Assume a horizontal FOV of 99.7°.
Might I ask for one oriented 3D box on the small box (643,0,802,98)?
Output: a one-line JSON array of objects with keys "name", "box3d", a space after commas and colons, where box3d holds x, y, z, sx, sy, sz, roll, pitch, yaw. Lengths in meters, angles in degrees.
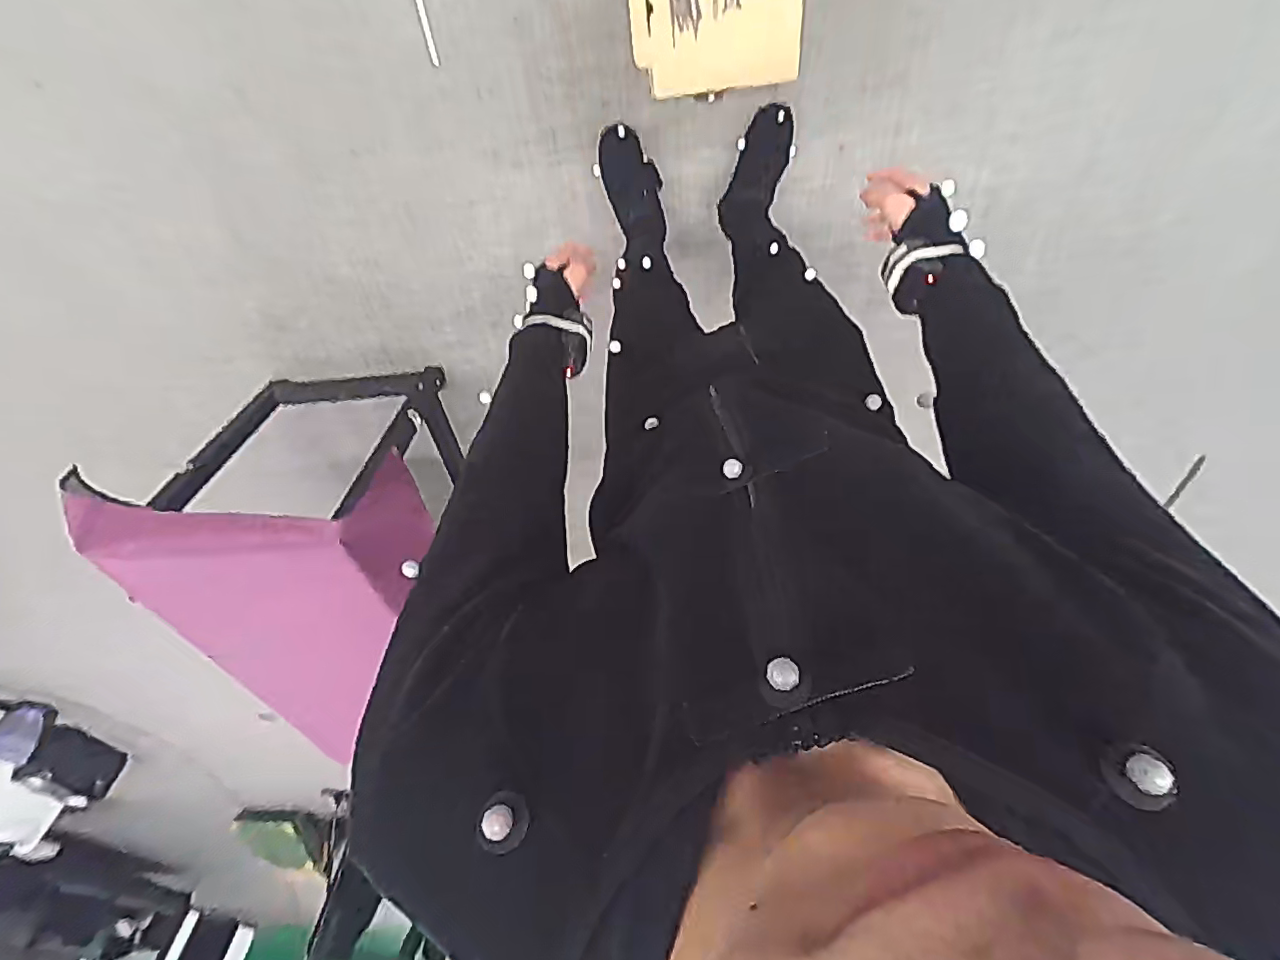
[{"name": "small box", "box3d": [0.093, -0.578, 0.655, 0.179, 0.176, 0.168, -5, 131, 4]}]
